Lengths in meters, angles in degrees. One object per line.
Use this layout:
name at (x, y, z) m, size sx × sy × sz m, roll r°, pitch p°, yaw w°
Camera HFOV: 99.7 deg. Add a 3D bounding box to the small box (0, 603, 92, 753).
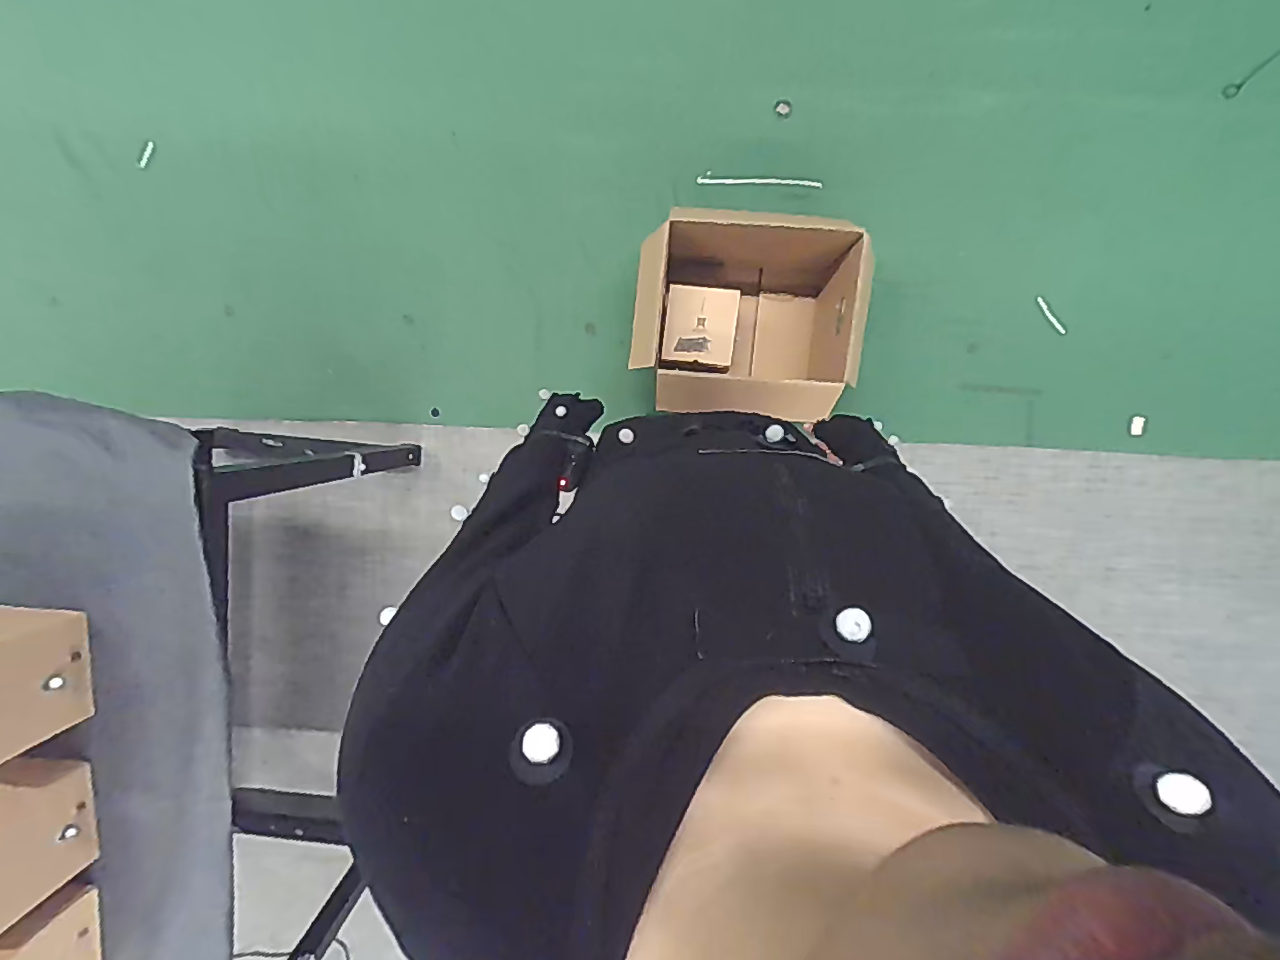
small box at (-0.907, 0.274, 0.729) m, size 0.179 × 0.176 × 0.168 m, roll 4°, pitch 97°, yaw 2°
